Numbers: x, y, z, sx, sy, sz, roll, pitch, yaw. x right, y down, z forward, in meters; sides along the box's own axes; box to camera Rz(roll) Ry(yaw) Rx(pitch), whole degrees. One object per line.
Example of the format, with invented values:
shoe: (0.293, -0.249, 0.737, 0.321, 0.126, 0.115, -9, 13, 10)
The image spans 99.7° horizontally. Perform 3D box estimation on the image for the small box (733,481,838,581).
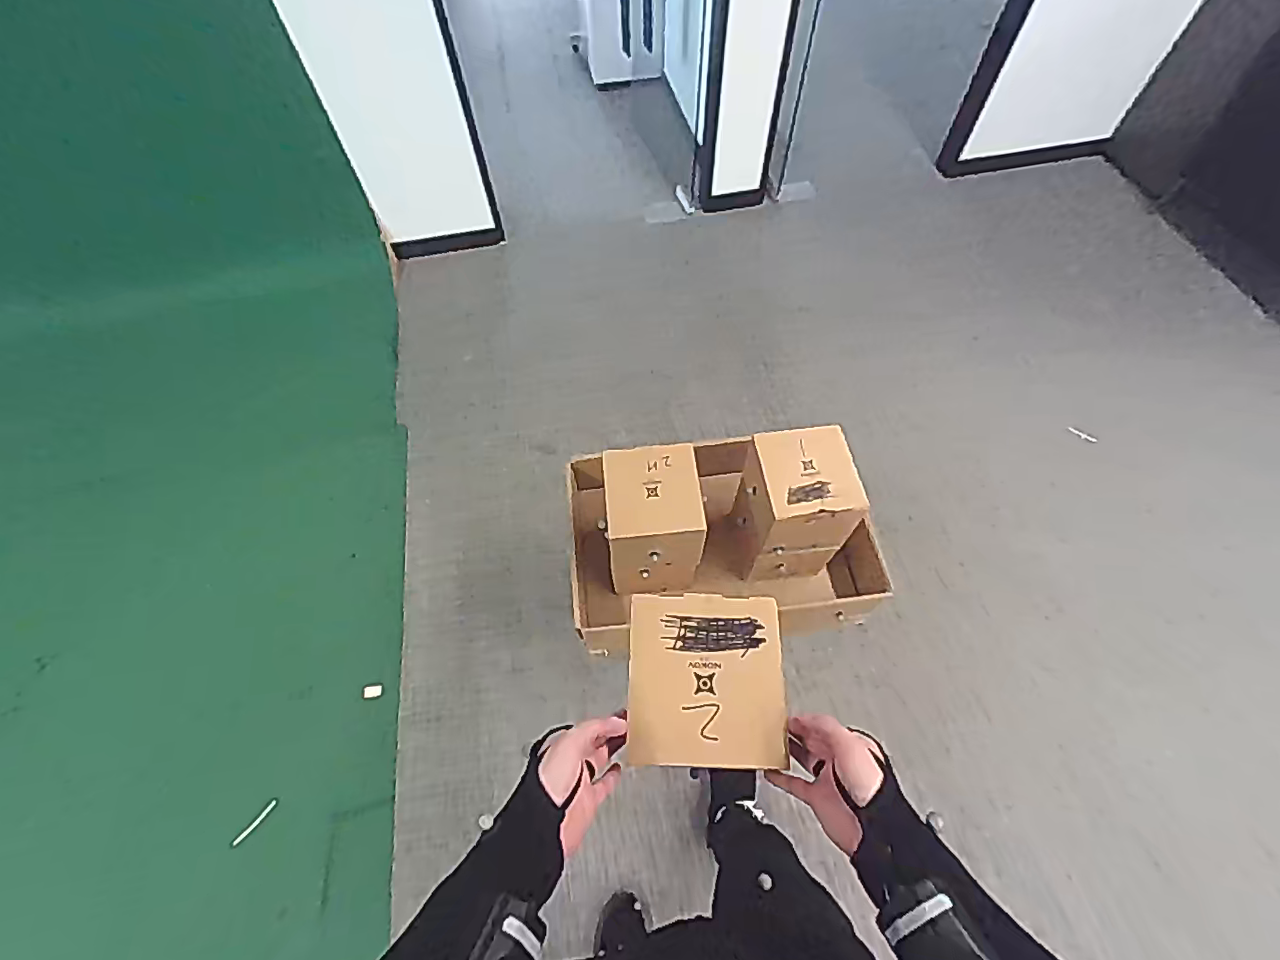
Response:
small box: (0.301, 0.109, 1.156, 0.168, 0.176, 0.179, -6, 60, -1)

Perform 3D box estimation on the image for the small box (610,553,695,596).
small box: (0.024, 0.133, 1.148, 0.168, 0.176, 0.179, -5, 60, 1)

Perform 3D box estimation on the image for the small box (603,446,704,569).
small box: (0.023, 0.058, 1.002, 0.168, 0.176, 0.179, -5, 60, -2)

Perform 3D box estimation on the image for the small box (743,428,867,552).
small box: (0.297, 0.026, 1.014, 0.168, 0.176, 0.179, -6, 60, -2)
